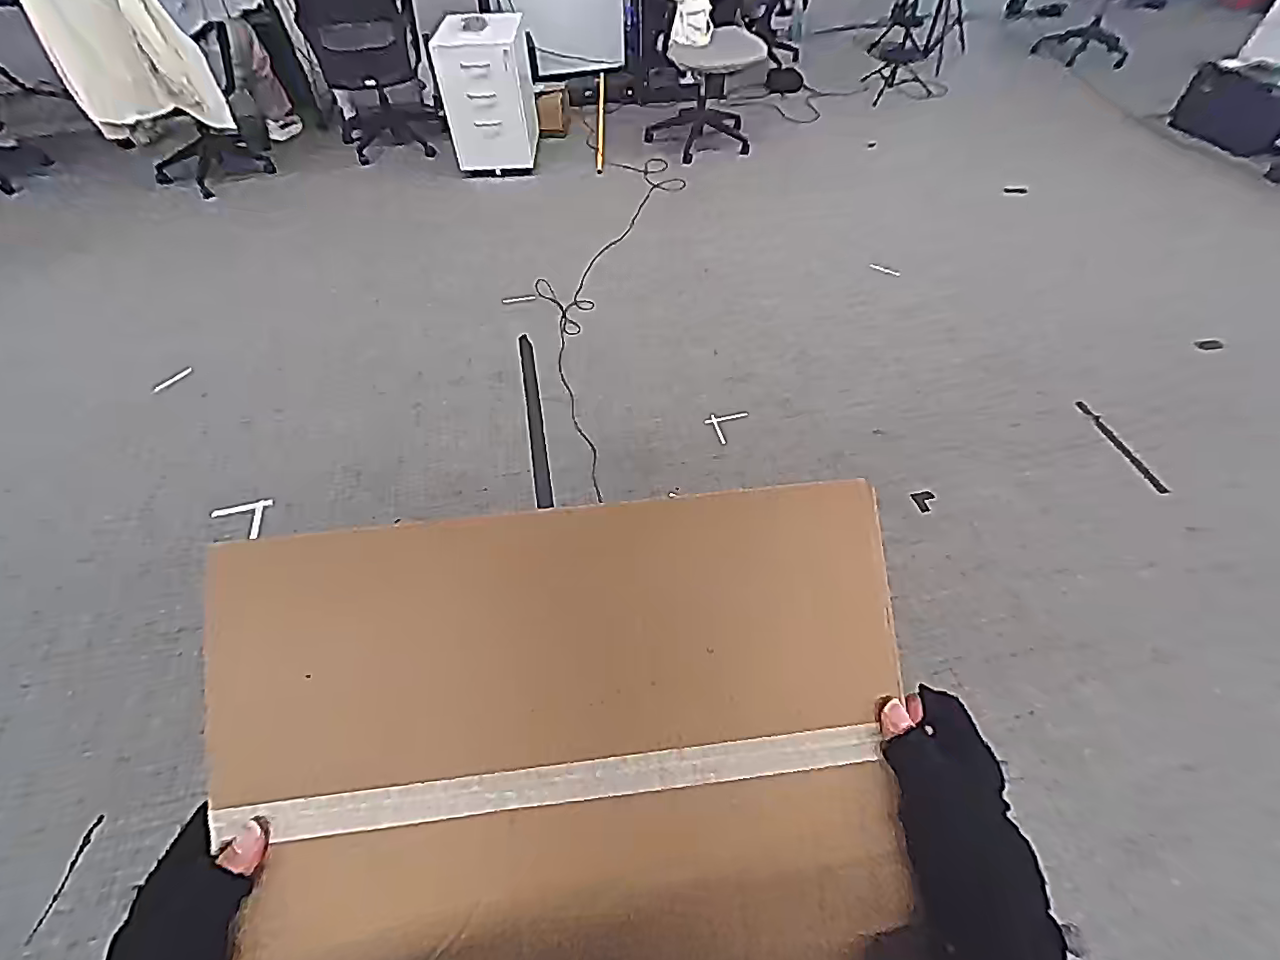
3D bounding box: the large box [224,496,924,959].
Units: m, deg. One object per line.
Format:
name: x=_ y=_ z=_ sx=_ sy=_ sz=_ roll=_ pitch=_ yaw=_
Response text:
large box: x=-0.046 y=0.199 z=0.475 sx=0.408 sy=0.320 sz=0.320 roll=-6 pitch=84 yaw=-3
